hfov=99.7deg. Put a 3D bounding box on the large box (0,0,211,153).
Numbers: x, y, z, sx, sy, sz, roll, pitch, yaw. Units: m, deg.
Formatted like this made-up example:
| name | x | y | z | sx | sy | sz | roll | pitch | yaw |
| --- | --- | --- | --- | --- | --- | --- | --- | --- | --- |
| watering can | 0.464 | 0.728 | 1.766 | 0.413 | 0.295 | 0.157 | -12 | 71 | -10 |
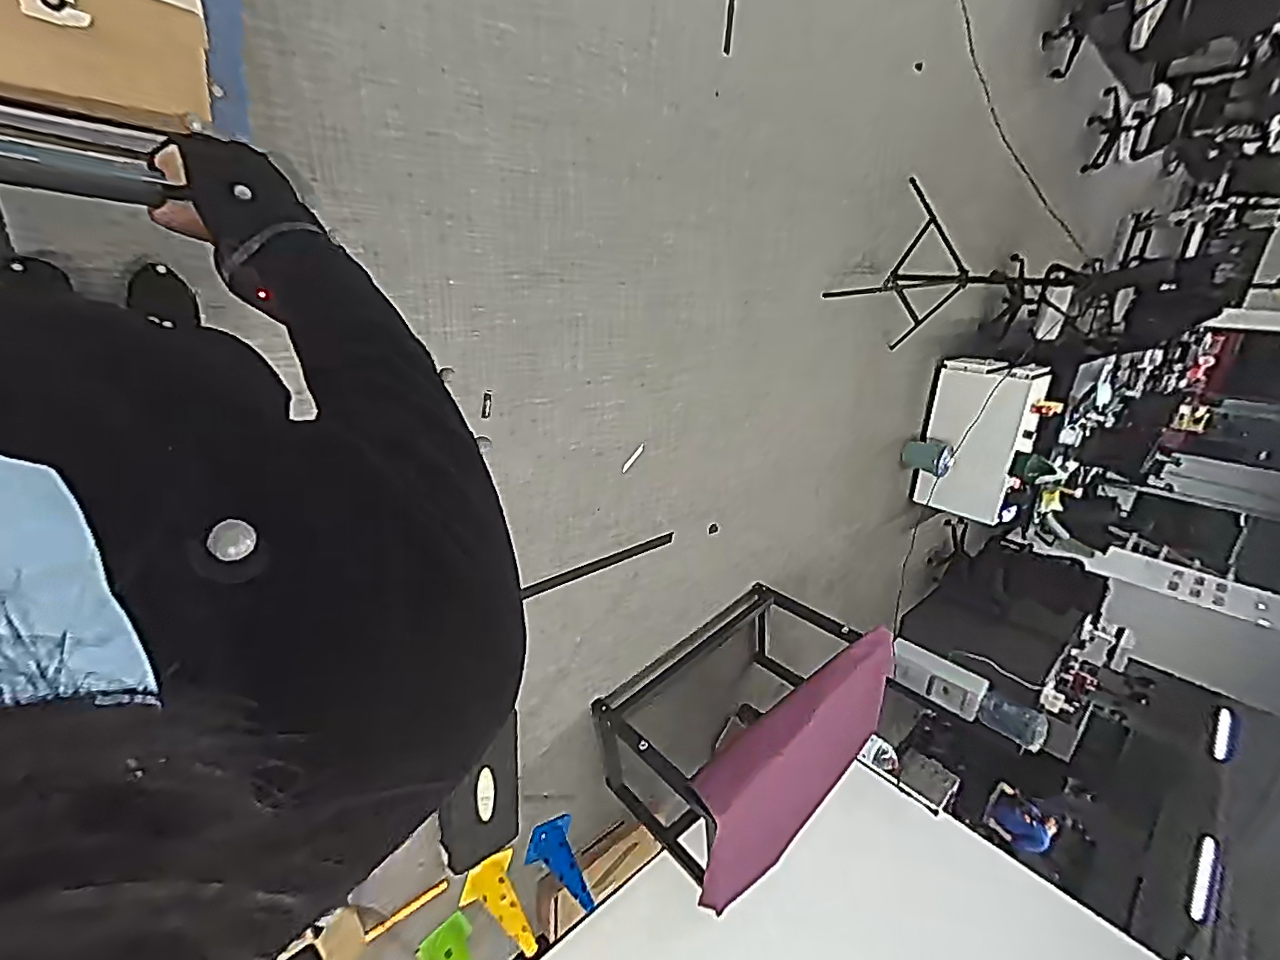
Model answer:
| name | x | y | z | sx | sy | sz | roll | pitch | yaw |
| --- | --- | --- | --- | --- | --- | --- | --- | --- | --- |
| large box | -0.828 | -0.642 | 0.674 | 0.408 | 0.320 | 0.320 | -11 | 116 | -42 |
